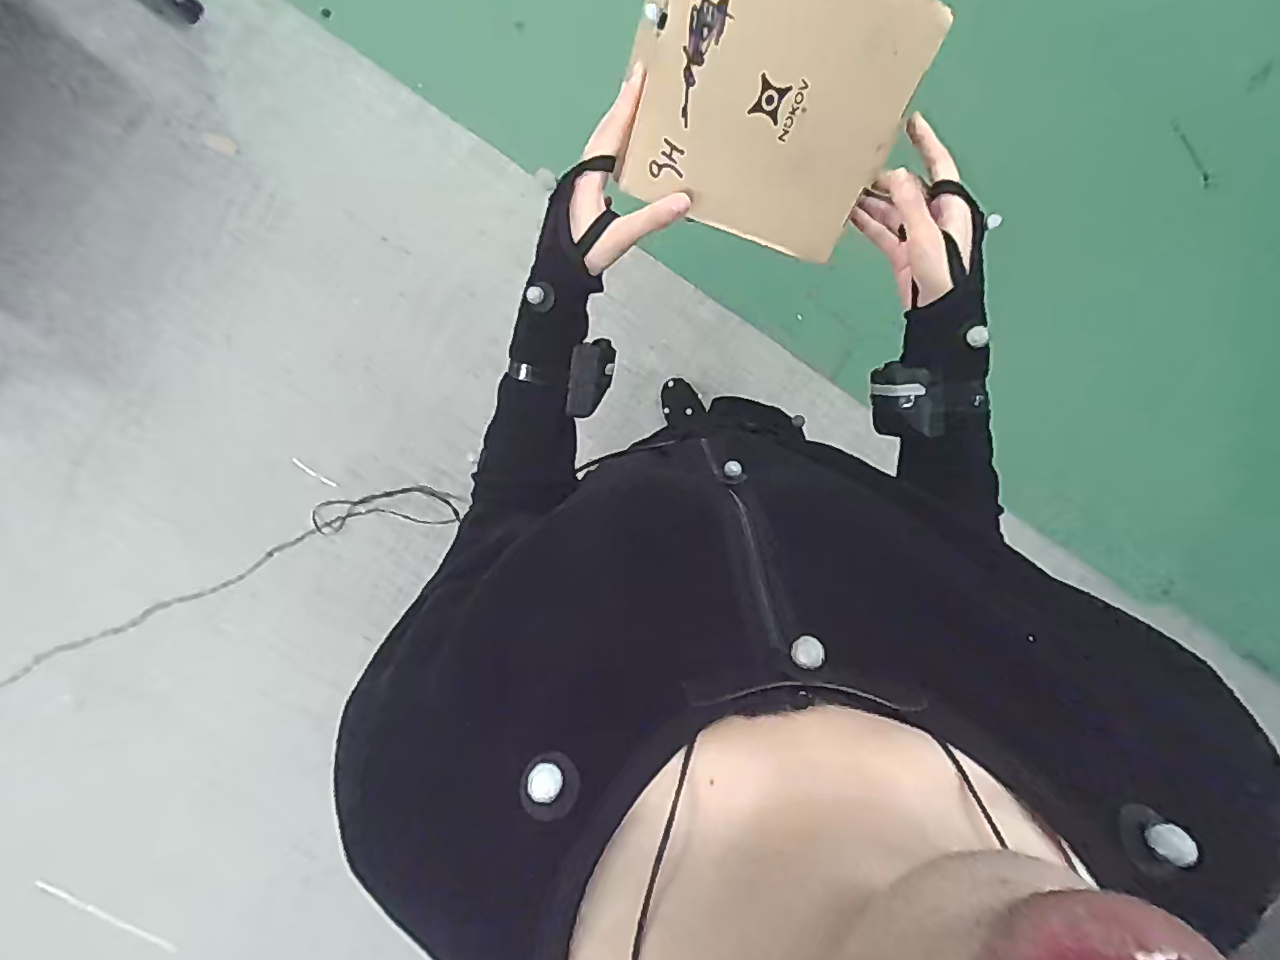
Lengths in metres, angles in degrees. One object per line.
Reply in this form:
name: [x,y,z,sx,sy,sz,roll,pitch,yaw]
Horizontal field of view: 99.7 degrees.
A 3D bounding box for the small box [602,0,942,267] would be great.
small box: [0.077,-0.295,0.424,0.179,0.176,0.168,11,124,-16]
